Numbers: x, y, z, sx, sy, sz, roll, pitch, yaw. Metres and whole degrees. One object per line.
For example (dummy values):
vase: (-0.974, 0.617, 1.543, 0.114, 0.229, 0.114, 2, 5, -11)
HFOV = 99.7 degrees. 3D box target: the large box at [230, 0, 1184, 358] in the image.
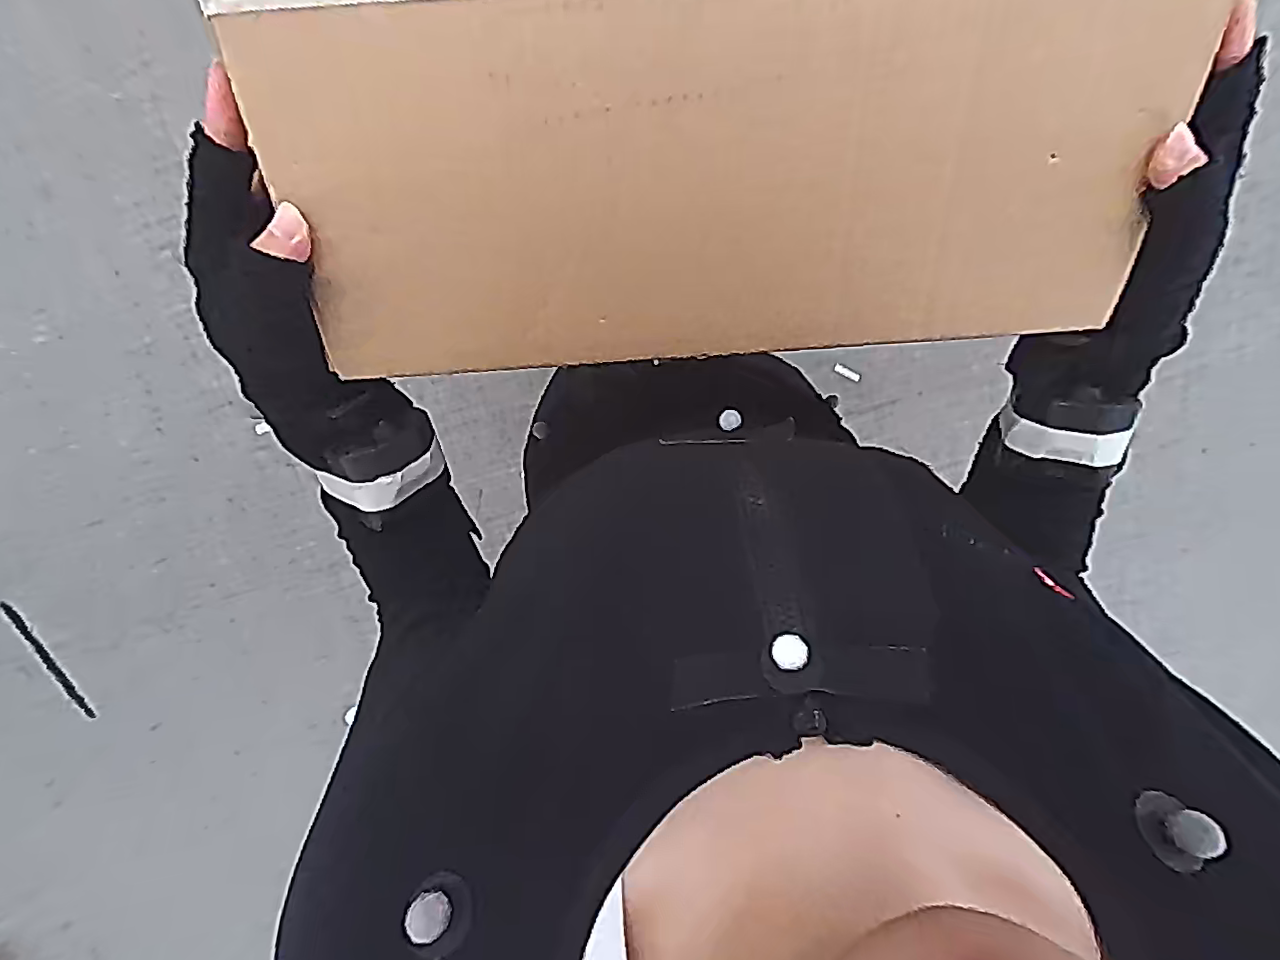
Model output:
large box: (0.023, -0.288, 0.345, 0.408, 0.320, 0.320, -5, 121, -1)
